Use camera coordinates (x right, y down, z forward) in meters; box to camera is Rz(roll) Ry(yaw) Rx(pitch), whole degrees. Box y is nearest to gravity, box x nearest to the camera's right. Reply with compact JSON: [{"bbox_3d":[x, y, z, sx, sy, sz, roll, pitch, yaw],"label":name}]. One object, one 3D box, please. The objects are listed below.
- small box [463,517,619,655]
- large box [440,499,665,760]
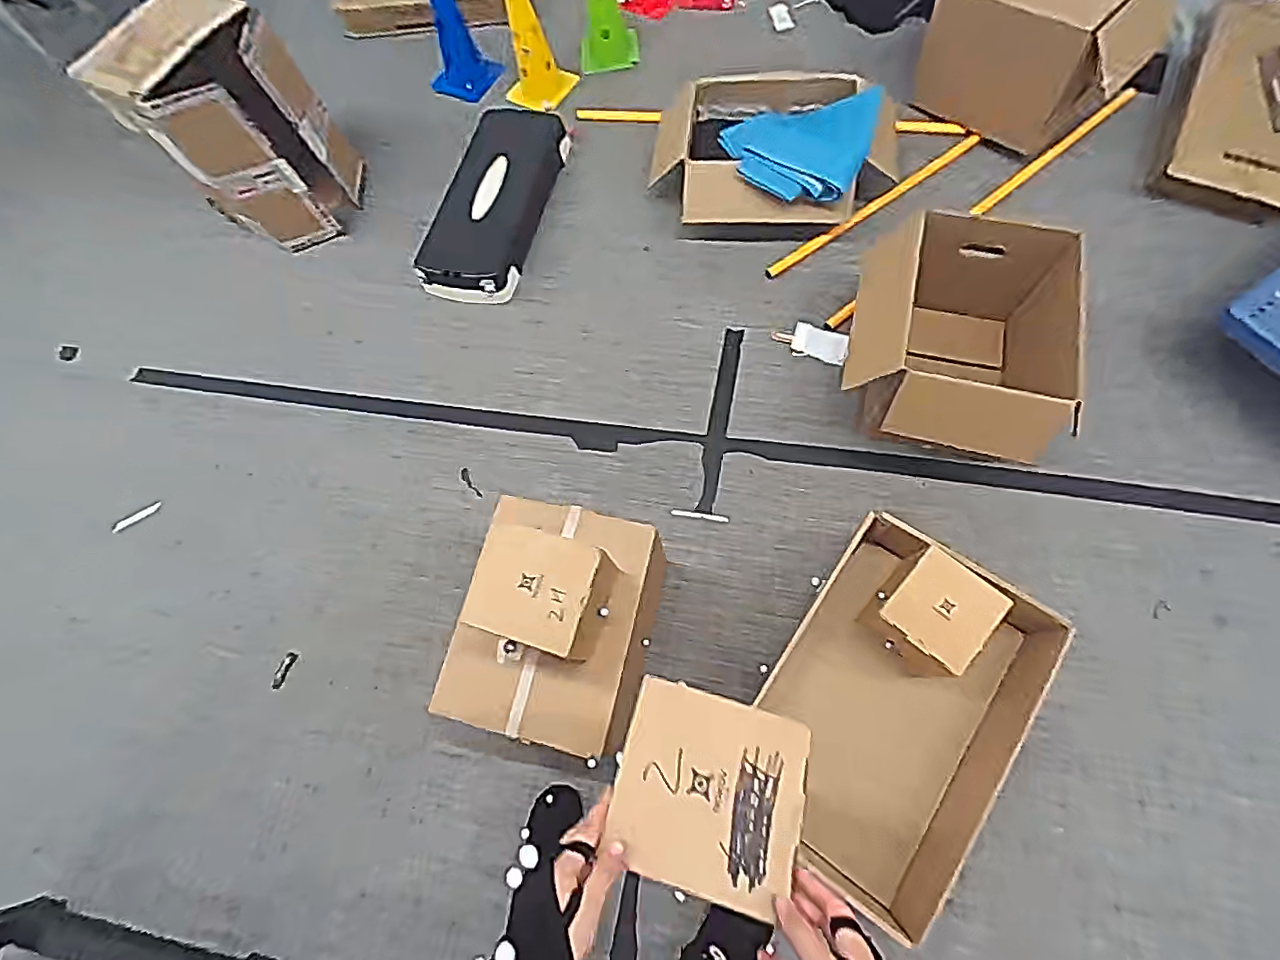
[{"bbox_3d":[-0.147,0.178,0.872,0.179,0.176,0.168,15,73,11],"label":"small box"},{"bbox_3d":[-0.140,0.290,1.095,0.320,0.320,0.408,10,73,11],"label":"large box"}]
